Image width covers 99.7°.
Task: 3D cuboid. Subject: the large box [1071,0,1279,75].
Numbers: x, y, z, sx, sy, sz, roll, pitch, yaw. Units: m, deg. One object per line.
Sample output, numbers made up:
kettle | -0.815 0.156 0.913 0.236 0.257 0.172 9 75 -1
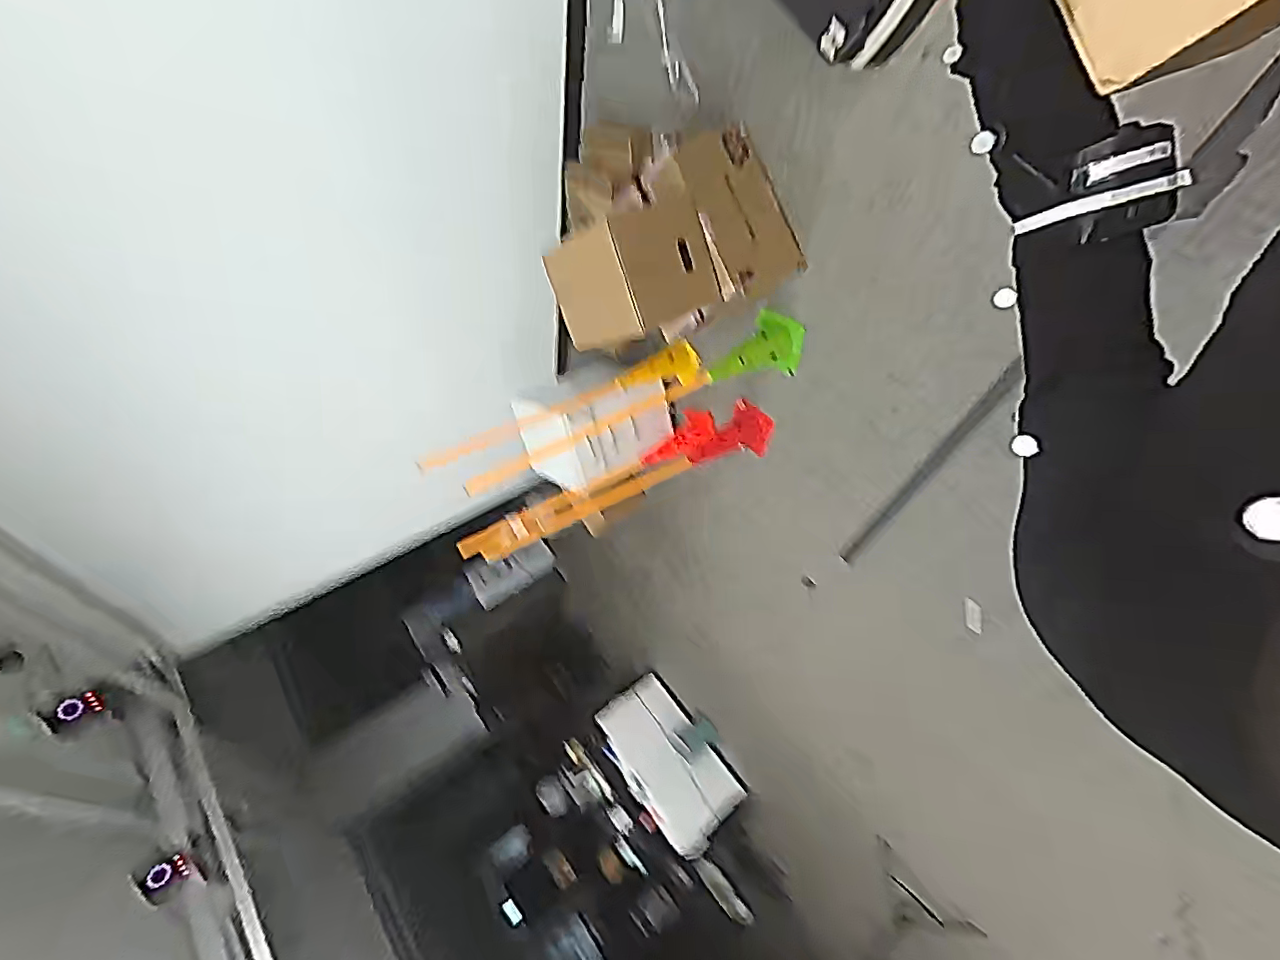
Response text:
large box | 0.444 -0.494 0.245 0.320 0.320 0.408 63 153 -5
